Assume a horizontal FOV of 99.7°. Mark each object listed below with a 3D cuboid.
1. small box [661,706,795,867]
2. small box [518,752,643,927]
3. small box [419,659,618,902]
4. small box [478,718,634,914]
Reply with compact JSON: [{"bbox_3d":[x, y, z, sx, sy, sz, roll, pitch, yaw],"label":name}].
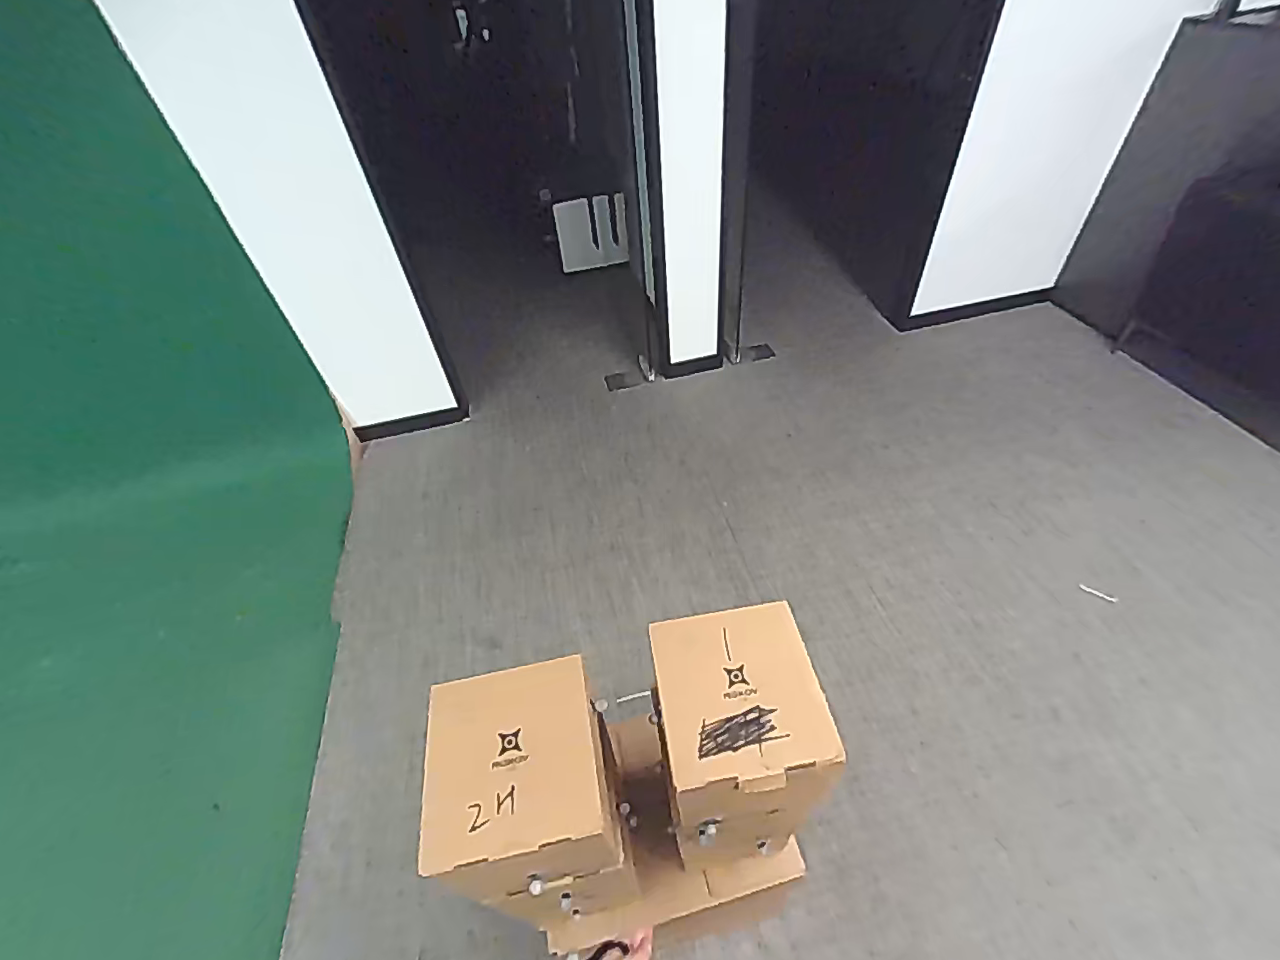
[{"bbox_3d":[0.133,0.491,0.858,0.168,0.176,0.179,-11,45,-3],"label":"small box"},{"bbox_3d":[-0.095,0.551,0.829,0.168,0.176,0.179,-12,47,-6],"label":"small box"},{"bbox_3d":[-0.122,0.327,0.589,0.168,0.176,0.179,-11,47,-4],"label":"small box"},{"bbox_3d":[-0.106,0.442,0.707,0.168,0.176,0.179,-11,47,-5],"label":"small box"}]
